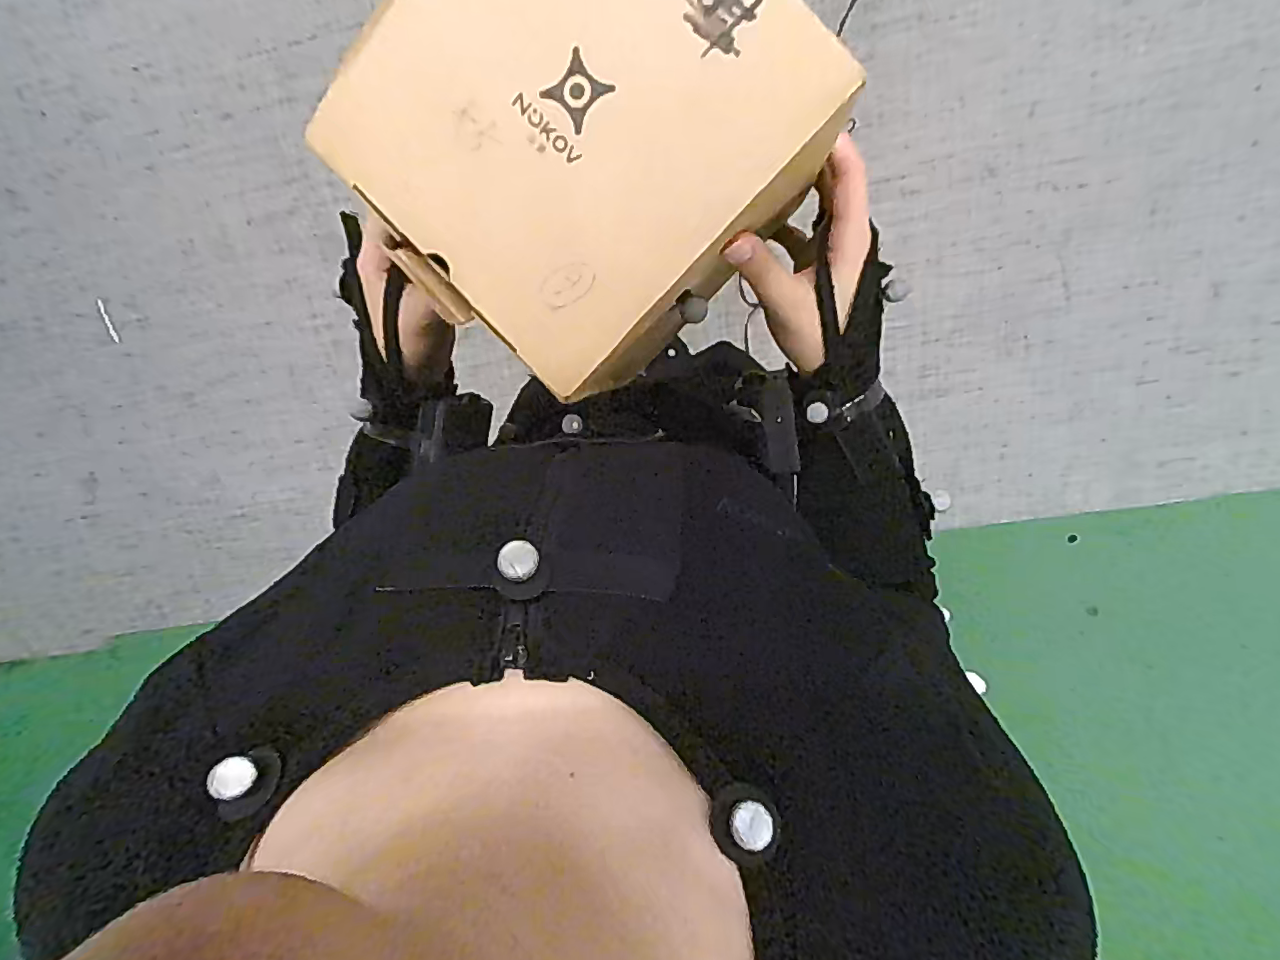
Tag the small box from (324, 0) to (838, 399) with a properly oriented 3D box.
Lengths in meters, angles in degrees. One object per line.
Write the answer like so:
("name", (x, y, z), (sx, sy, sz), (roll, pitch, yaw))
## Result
("small box", (-0.021, -0.168, 0.309), (0.168, 0.176, 0.179), (45, 106, -3))
